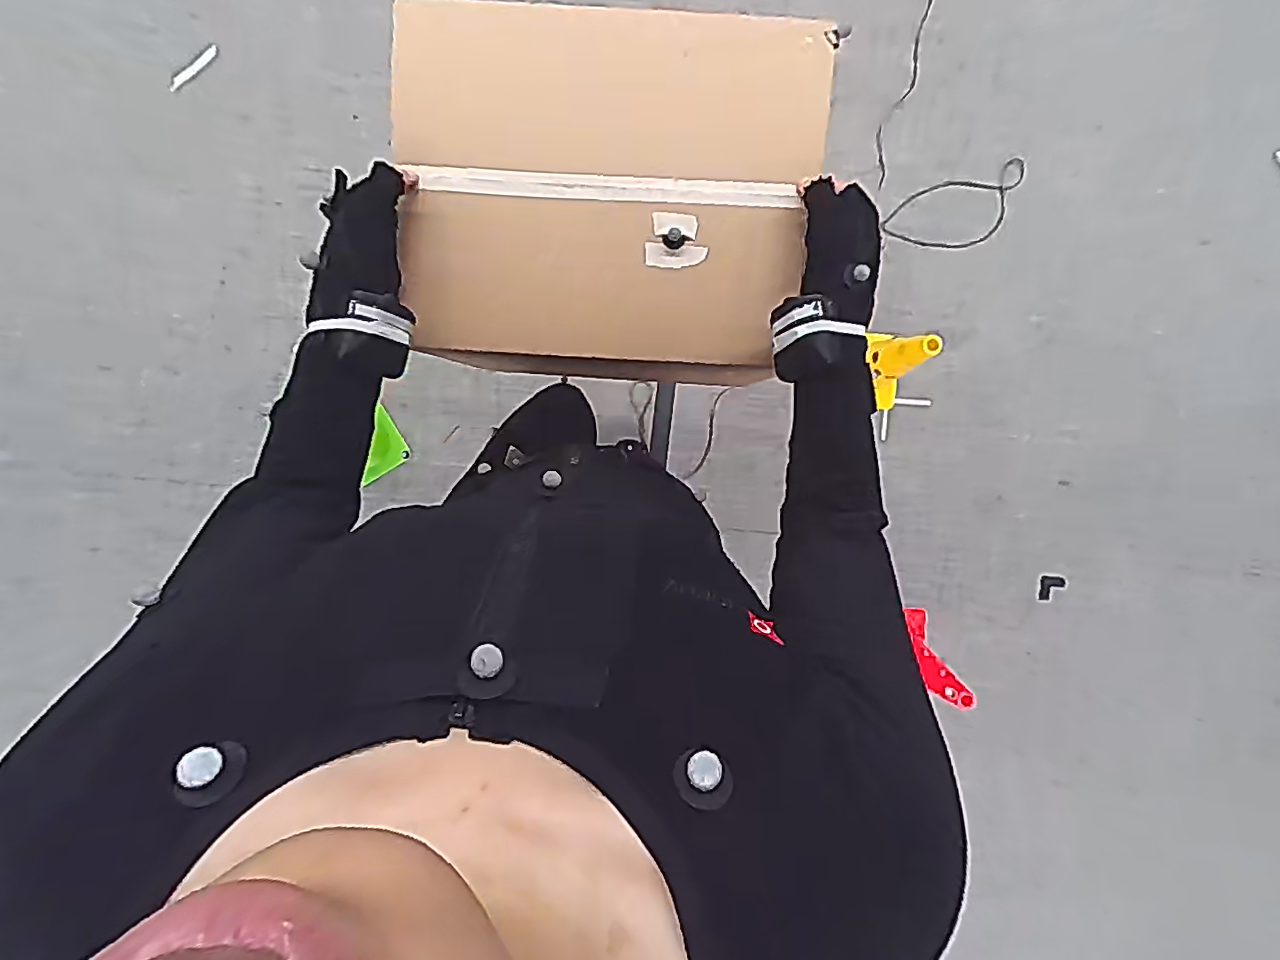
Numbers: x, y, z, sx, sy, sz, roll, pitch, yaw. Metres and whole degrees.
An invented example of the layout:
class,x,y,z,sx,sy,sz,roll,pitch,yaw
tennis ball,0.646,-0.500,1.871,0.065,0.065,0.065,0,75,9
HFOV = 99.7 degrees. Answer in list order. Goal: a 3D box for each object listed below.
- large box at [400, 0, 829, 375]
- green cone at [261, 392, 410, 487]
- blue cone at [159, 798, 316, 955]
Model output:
class,x,y,z,sx,sy,sz,roll,pitch,yaw
large box,-0.031,-0.302,0.661,0.408,0.320,0.320,3,97,-1
green cone,-0.745,-0.098,1.276,0.202,0.368,0.200,-32,92,3
blue cone,-1.009,1.000,1.351,0.192,0.380,0.193,9,93,0
